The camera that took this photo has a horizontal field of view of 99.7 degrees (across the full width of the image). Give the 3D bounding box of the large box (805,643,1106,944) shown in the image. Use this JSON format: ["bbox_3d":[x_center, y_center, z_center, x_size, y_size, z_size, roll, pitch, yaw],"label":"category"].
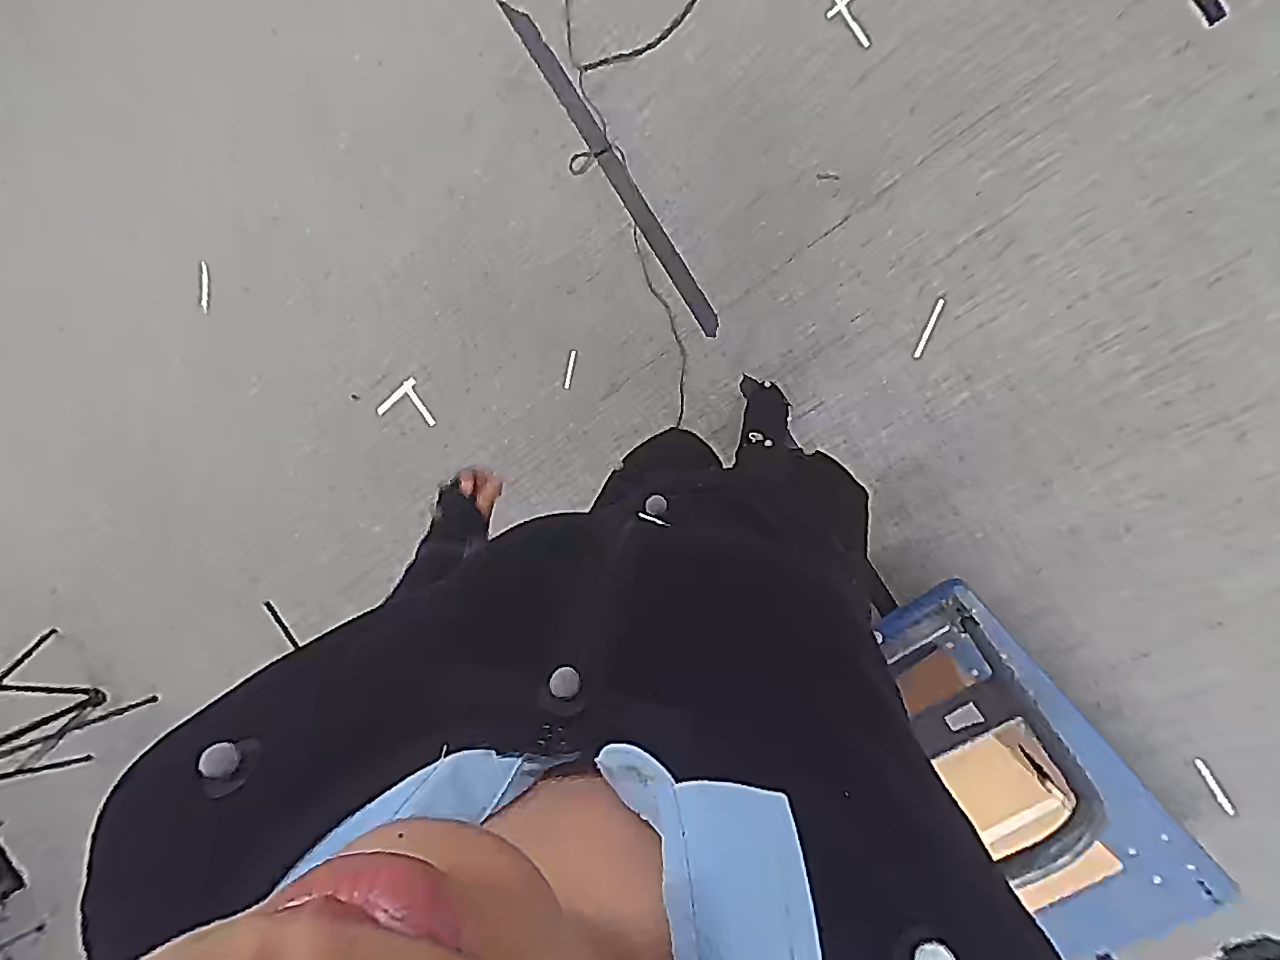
[{"bbox_3d":[0.602,0.627,1.128,0.320,0.320,0.408,46,109,5],"label":"large box"}]
